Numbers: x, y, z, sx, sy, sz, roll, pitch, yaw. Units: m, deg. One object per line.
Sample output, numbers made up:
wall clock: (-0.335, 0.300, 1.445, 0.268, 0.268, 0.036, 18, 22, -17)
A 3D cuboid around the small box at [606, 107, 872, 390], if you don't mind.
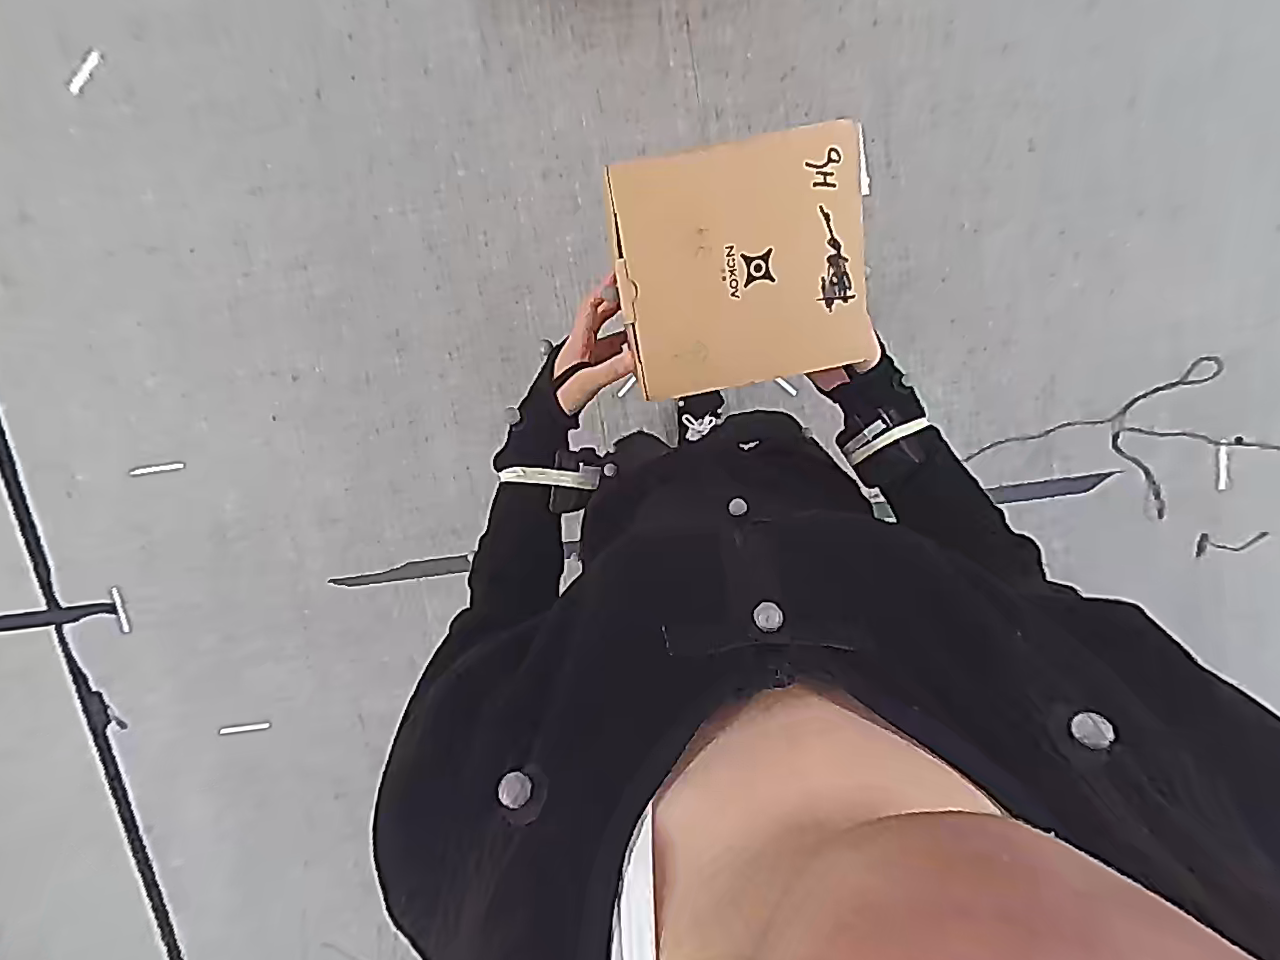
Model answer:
small box: (0.073, -0.181, 0.458, 0.179, 0.176, 0.168, -11, 109, 0)
